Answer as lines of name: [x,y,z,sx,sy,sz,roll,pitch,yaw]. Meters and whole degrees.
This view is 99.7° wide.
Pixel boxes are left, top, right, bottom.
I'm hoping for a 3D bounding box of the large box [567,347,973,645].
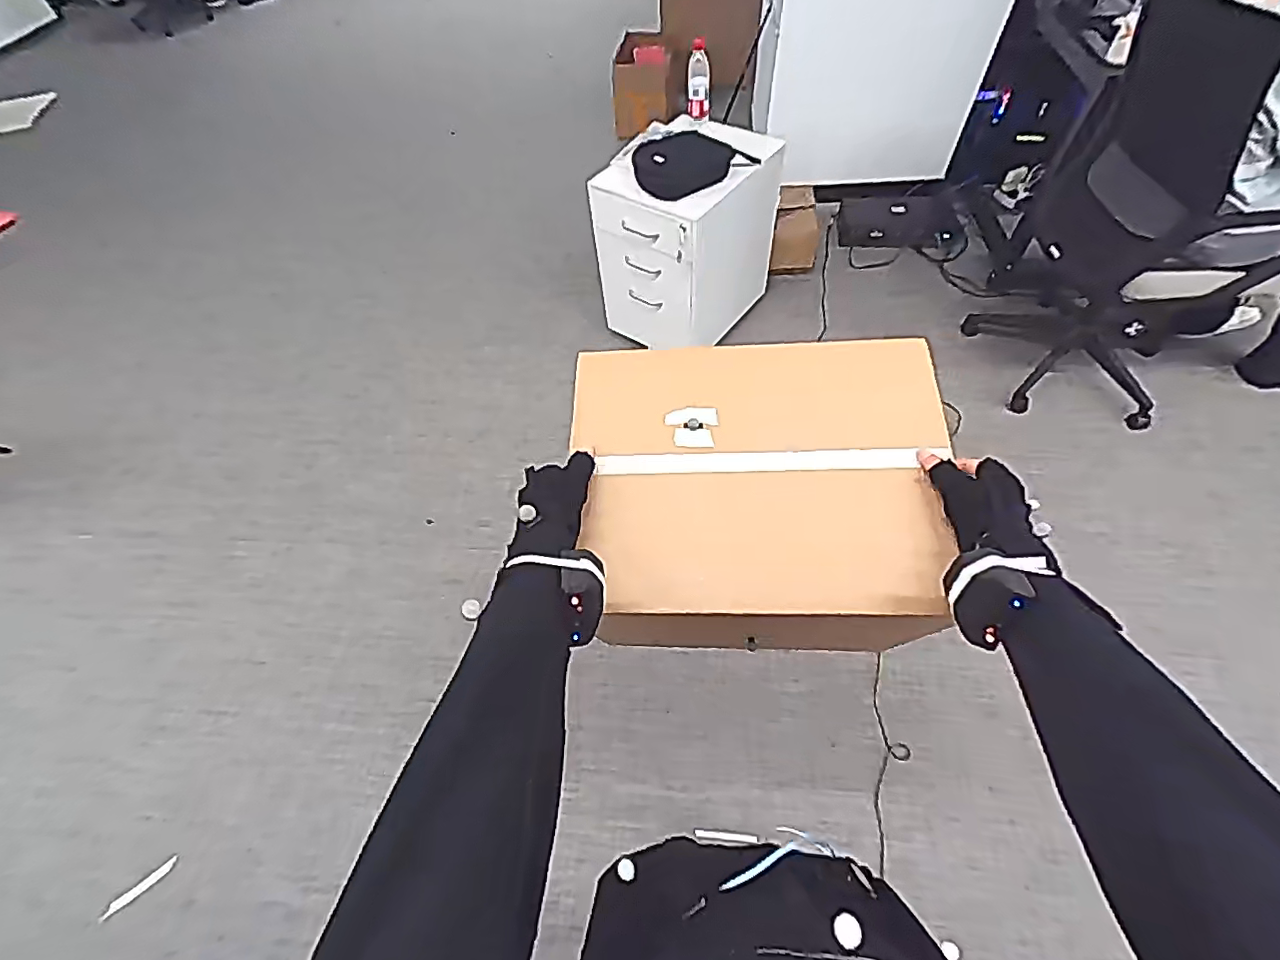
large box: [0.141,0.050,0.727,0.408,0.320,0.320,-1,66,7]
